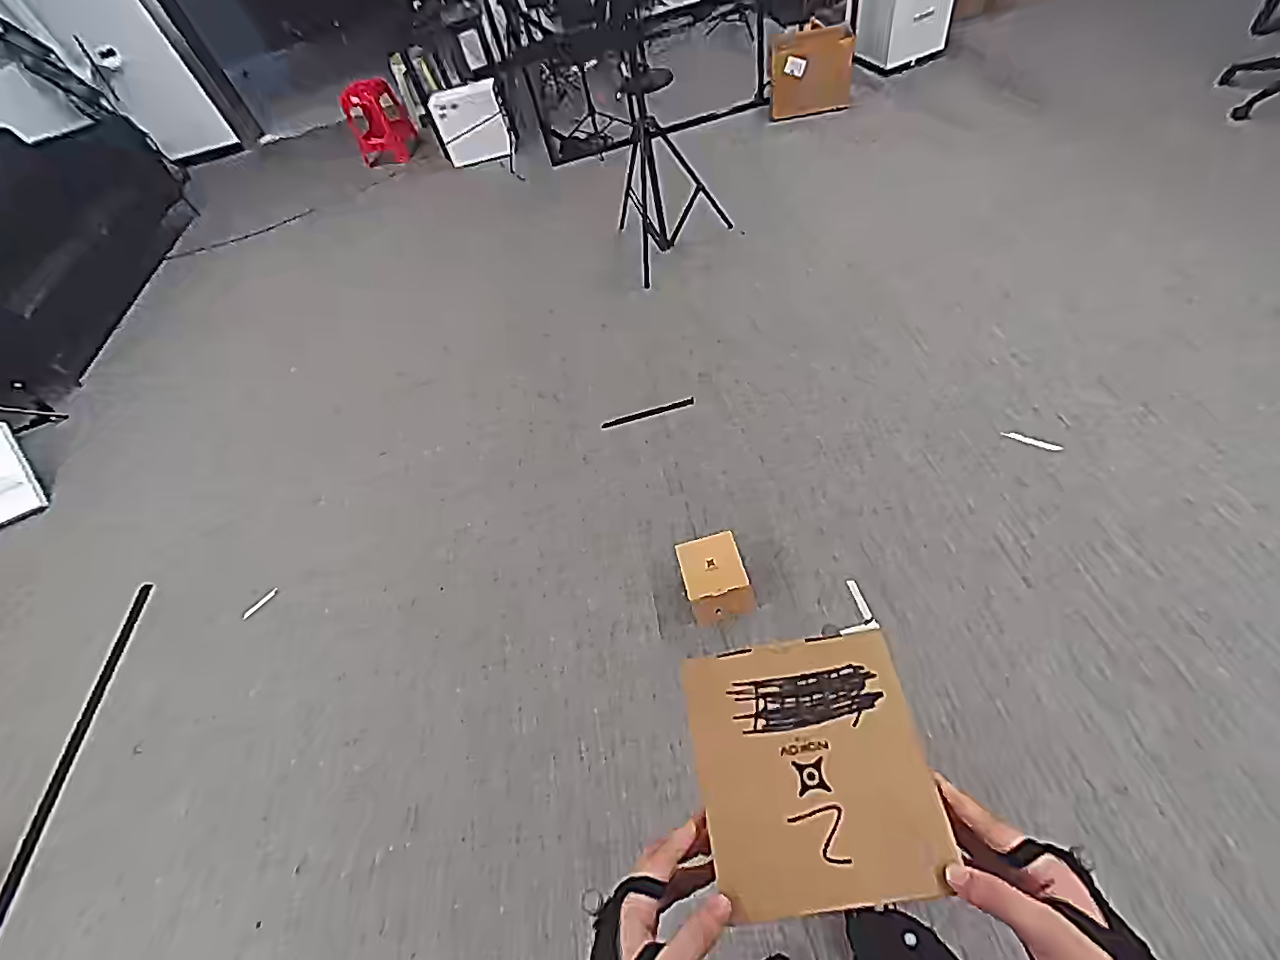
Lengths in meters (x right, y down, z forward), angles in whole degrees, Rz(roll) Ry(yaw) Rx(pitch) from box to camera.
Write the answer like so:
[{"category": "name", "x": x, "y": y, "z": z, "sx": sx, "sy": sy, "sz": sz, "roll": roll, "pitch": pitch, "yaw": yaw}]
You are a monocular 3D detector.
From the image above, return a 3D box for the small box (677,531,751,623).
[{"category": "small box", "x": 0.209, "y": 0.275, "z": 1.524, "sx": 0.168, "sy": 0.176, "sz": 0.179, "roll": -16, "pitch": 52, "yaw": 2}]
